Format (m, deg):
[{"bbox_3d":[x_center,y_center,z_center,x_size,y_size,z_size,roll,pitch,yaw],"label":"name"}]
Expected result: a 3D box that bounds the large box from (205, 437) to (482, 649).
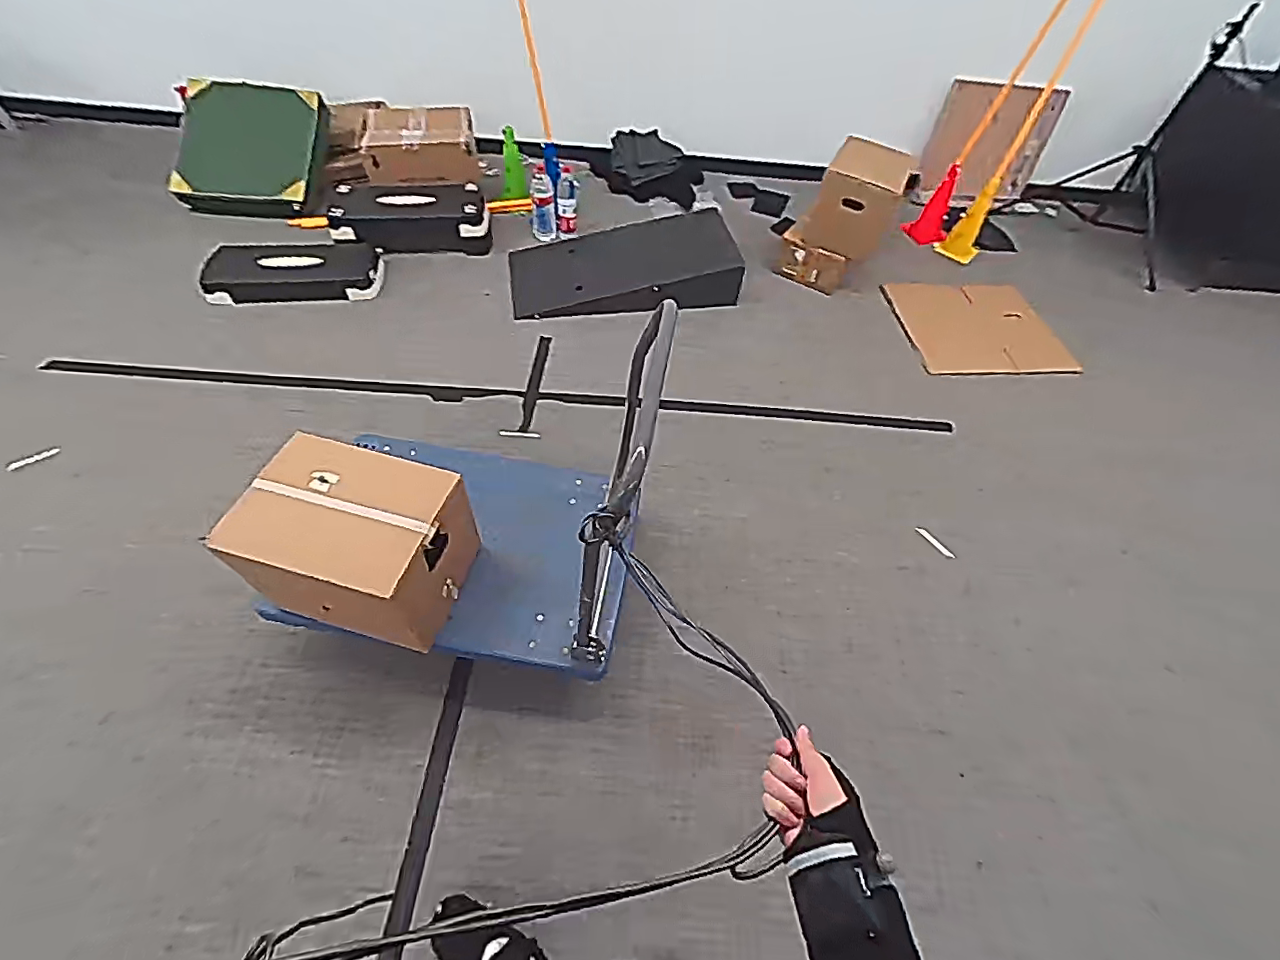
[{"bbox_3d":[-0.629,0.150,1.241,0.408,0.320,0.320,14,53,6],"label":"large box"}]
